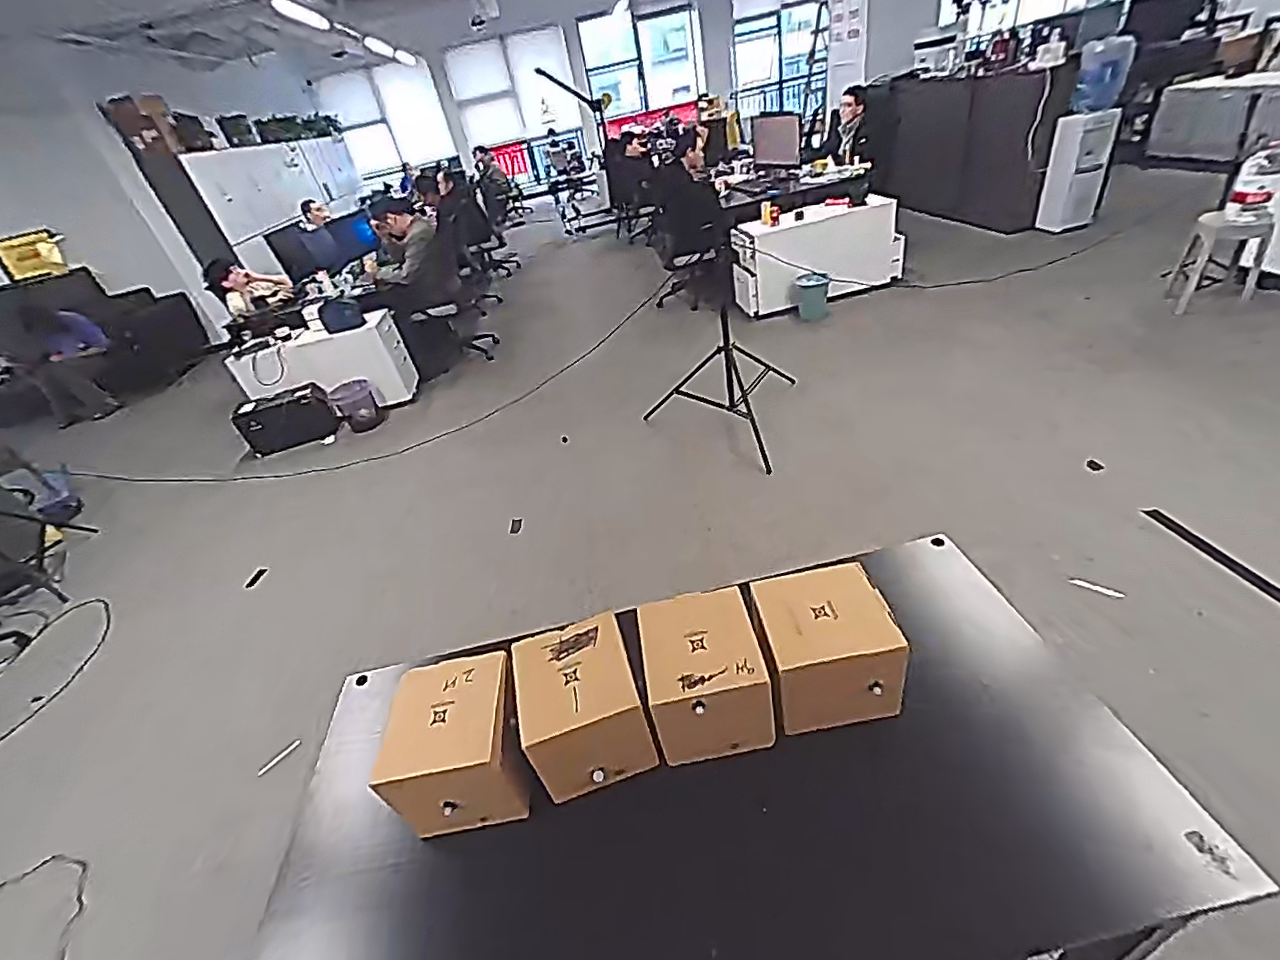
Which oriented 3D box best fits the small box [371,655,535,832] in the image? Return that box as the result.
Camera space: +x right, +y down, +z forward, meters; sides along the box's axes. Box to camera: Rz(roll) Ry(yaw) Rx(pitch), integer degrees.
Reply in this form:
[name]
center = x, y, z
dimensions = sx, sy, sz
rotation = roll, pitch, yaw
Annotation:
[small box]
center = -0.263, 0.398, 0.811
dimensions = 0.168, 0.176, 0.179
rotation = -12, 34, 1
